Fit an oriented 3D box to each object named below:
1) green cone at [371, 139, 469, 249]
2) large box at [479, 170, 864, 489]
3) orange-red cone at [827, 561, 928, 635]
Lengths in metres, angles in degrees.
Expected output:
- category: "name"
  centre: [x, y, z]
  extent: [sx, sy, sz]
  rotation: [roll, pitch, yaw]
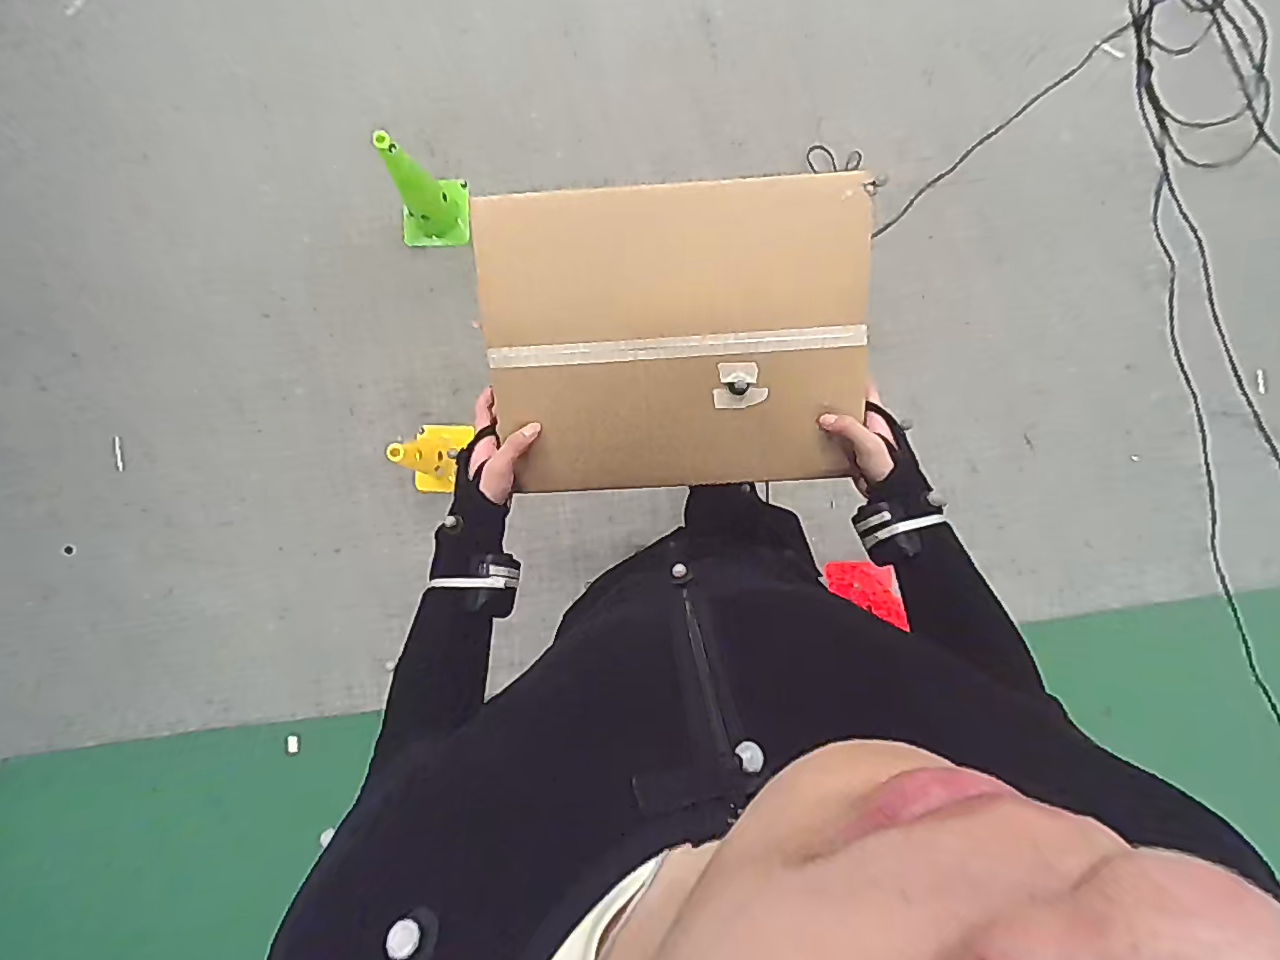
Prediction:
- category: "green cone"
  centre: [-0.627, -0.805, 1.473]
  extent: [0.200, 0.368, 0.202]
  rotation: [-2, 91, 1]
- category: "large box"
  centre: [0.041, -0.189, 0.734]
  extent: [0.408, 0.320, 0.320]
  rotation: [-4, 106, 1]
- category: "orange-red cone"
  centre: [0.658, 0.341, 1.438]
  extent: [0.199, 0.360, 0.198]
  rotation: [-1, 90, -1]
